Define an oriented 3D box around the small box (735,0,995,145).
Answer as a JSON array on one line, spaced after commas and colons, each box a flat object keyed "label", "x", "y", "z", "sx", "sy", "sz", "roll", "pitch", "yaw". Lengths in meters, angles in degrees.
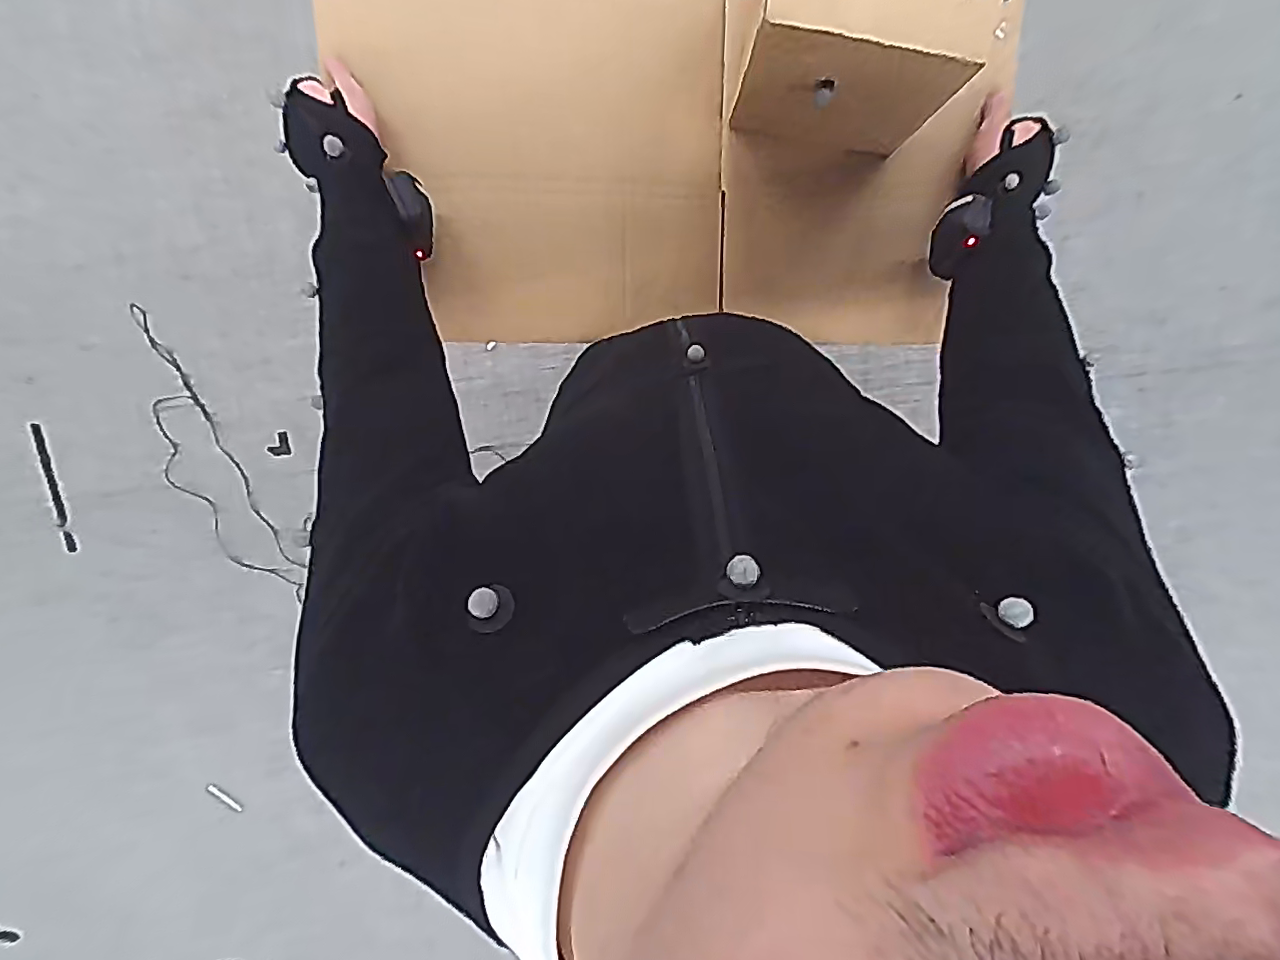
[{"label": "small box", "x": 0.190, "y": -0.426, "z": 0.476, "sx": 0.179, "sy": 0.176, "sz": 0.168, "roll": 10, "pitch": 101, "yaw": 0}]
